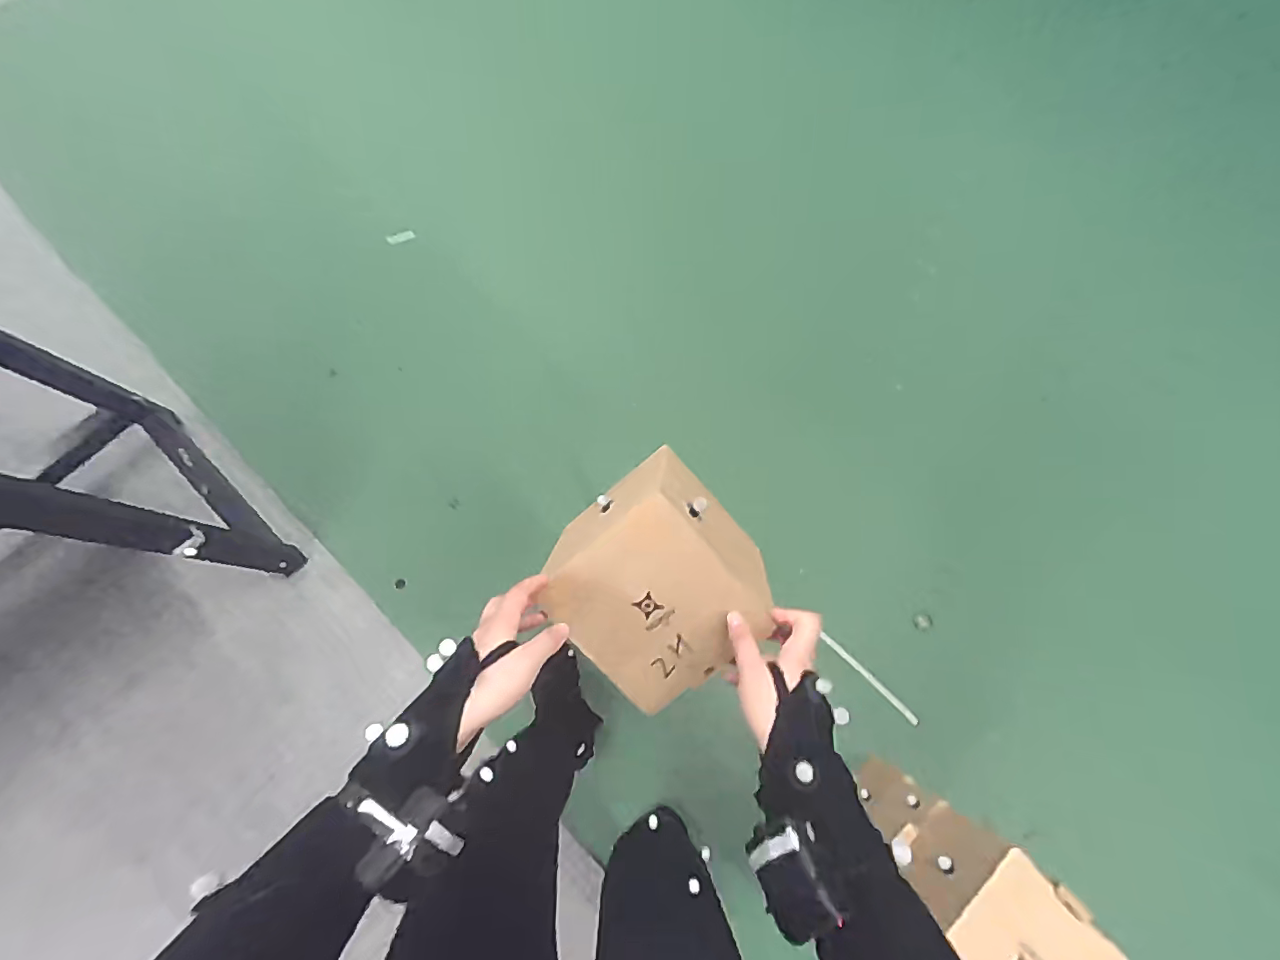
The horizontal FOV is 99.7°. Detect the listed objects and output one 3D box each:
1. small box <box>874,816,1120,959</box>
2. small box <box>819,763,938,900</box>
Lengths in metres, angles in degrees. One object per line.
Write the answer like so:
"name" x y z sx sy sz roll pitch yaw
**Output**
"small box" 0.442 0.581 0.697 0.179 0.176 0.168 -41 78 -11
"small box" 0.460 0.671 1.014 0.179 0.176 0.168 -37 77 -10
